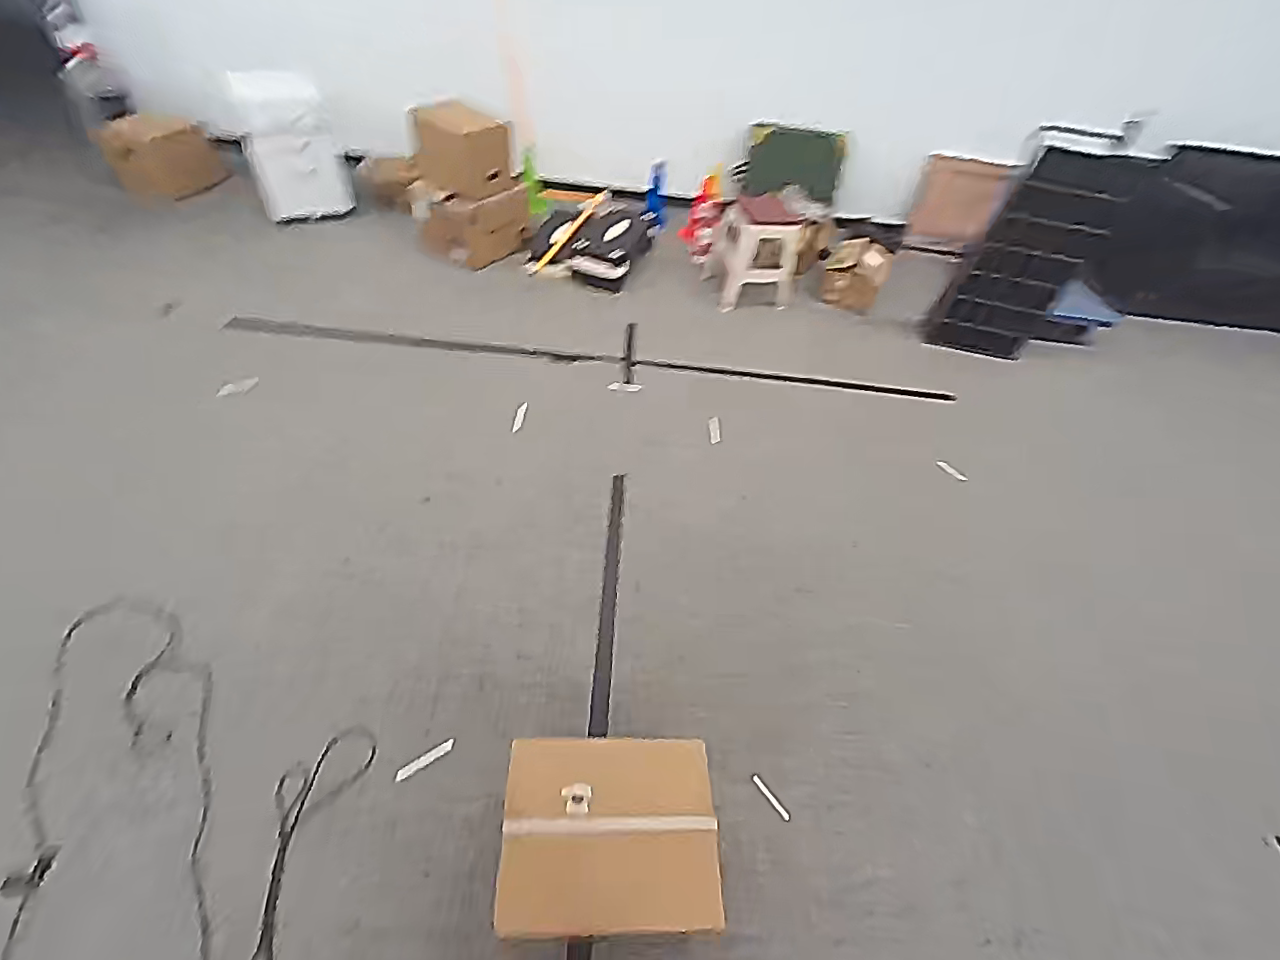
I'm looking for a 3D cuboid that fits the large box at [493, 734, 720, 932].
[{"bbox_3d":[-0.074,0.747,1.144,0.408,0.320,0.320,3,48,-6],"label":"large box"}]
